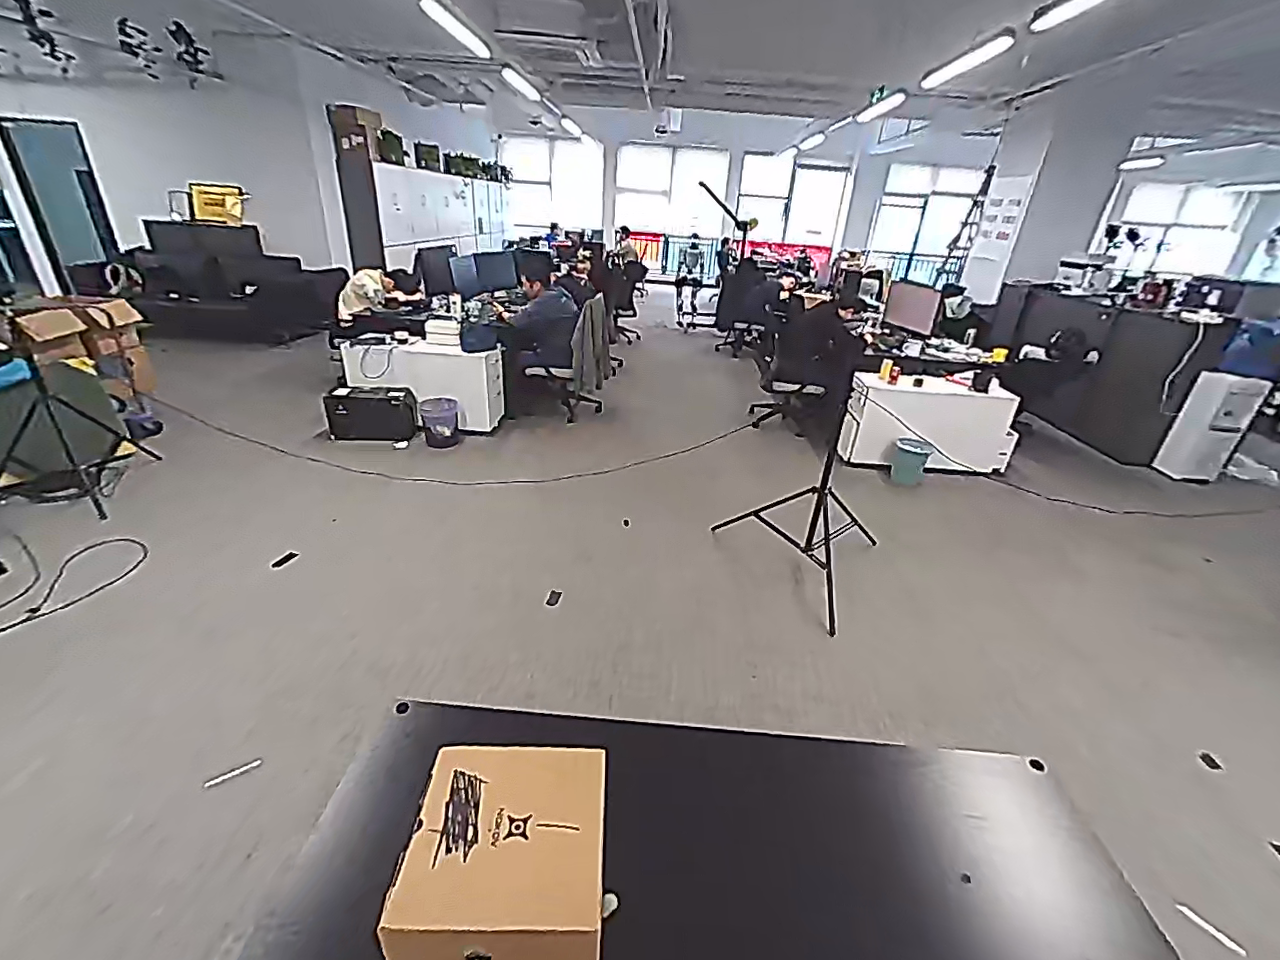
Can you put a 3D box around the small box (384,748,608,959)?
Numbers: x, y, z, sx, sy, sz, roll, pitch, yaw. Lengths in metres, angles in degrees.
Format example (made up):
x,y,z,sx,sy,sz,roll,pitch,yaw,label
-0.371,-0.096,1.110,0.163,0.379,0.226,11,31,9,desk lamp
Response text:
x,y,z,sx,sy,sz,roll,pitch,yaw,label
-0.122,0.394,0.535,0.179,0.176,0.168,2,26,-3,small box
